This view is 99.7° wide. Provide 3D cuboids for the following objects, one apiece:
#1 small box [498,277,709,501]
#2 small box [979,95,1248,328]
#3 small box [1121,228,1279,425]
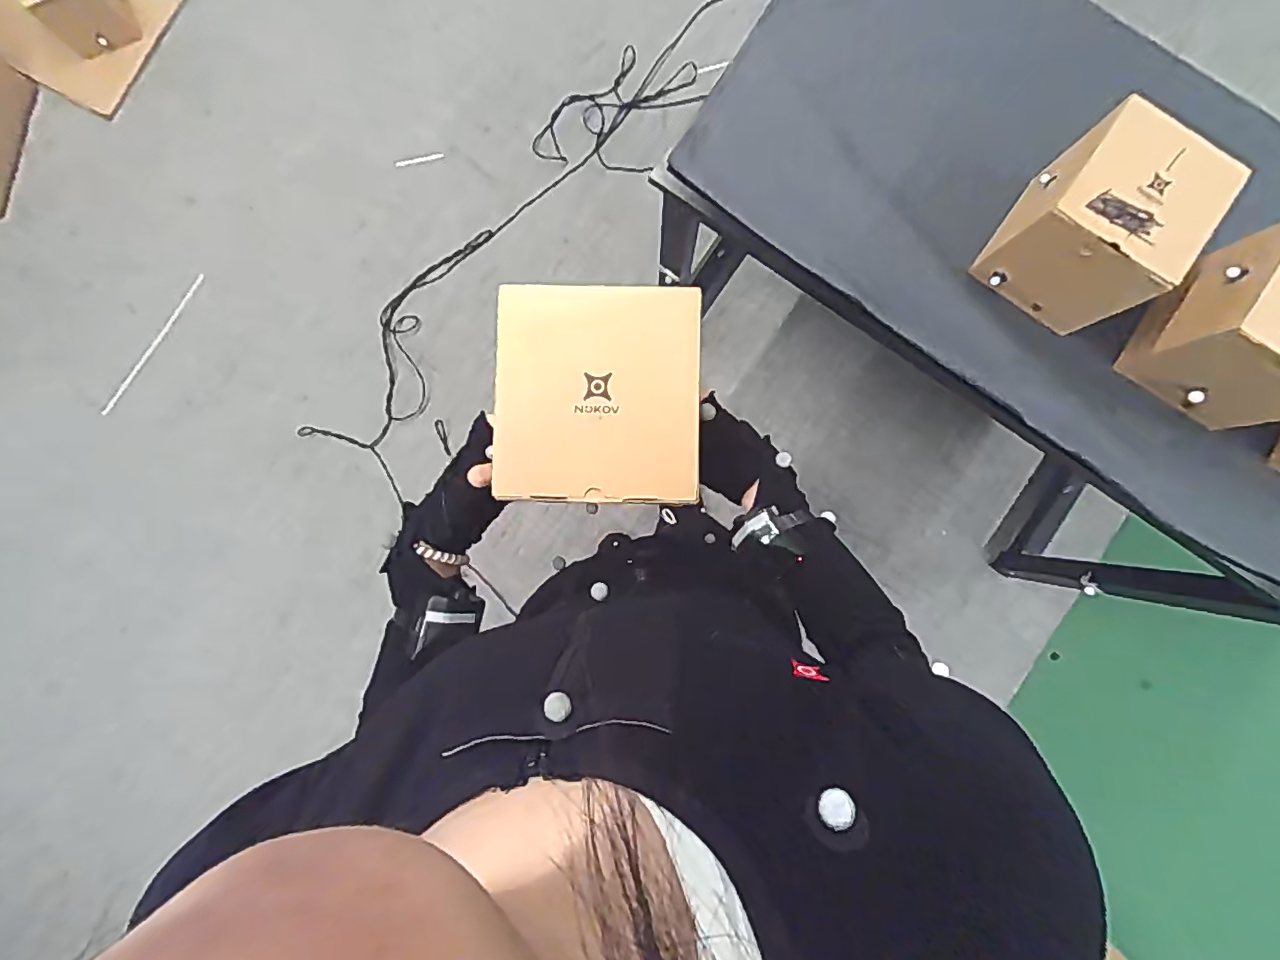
[{"bbox_3d":[-0.030,-0.071,0.510,0.168,0.176,0.179,1,88,0],"label":"small box"},{"bbox_3d":[0.589,-0.329,0.703,0.168,0.176,0.179,36,86,2],"label":"small box"},{"bbox_3d":[0.789,-0.194,0.695,0.168,0.176,0.179,34,87,2],"label":"small box"}]
